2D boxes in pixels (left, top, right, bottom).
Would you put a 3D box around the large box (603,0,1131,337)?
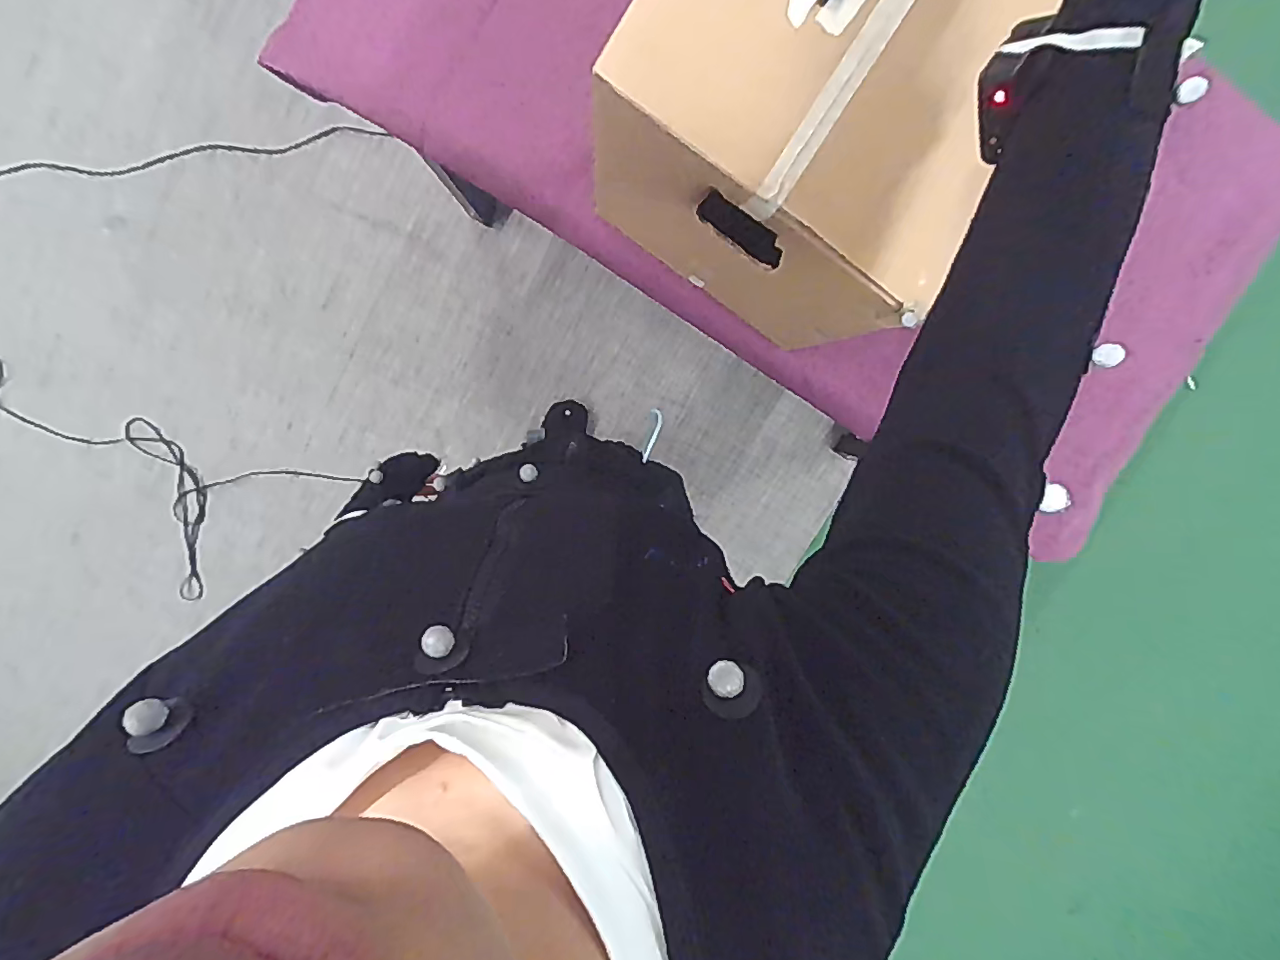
[{"bbox_3d":[0.195,-0.409,0.552,0.320,0.320,0.408,34,97,-8],"label":"large box"}]
